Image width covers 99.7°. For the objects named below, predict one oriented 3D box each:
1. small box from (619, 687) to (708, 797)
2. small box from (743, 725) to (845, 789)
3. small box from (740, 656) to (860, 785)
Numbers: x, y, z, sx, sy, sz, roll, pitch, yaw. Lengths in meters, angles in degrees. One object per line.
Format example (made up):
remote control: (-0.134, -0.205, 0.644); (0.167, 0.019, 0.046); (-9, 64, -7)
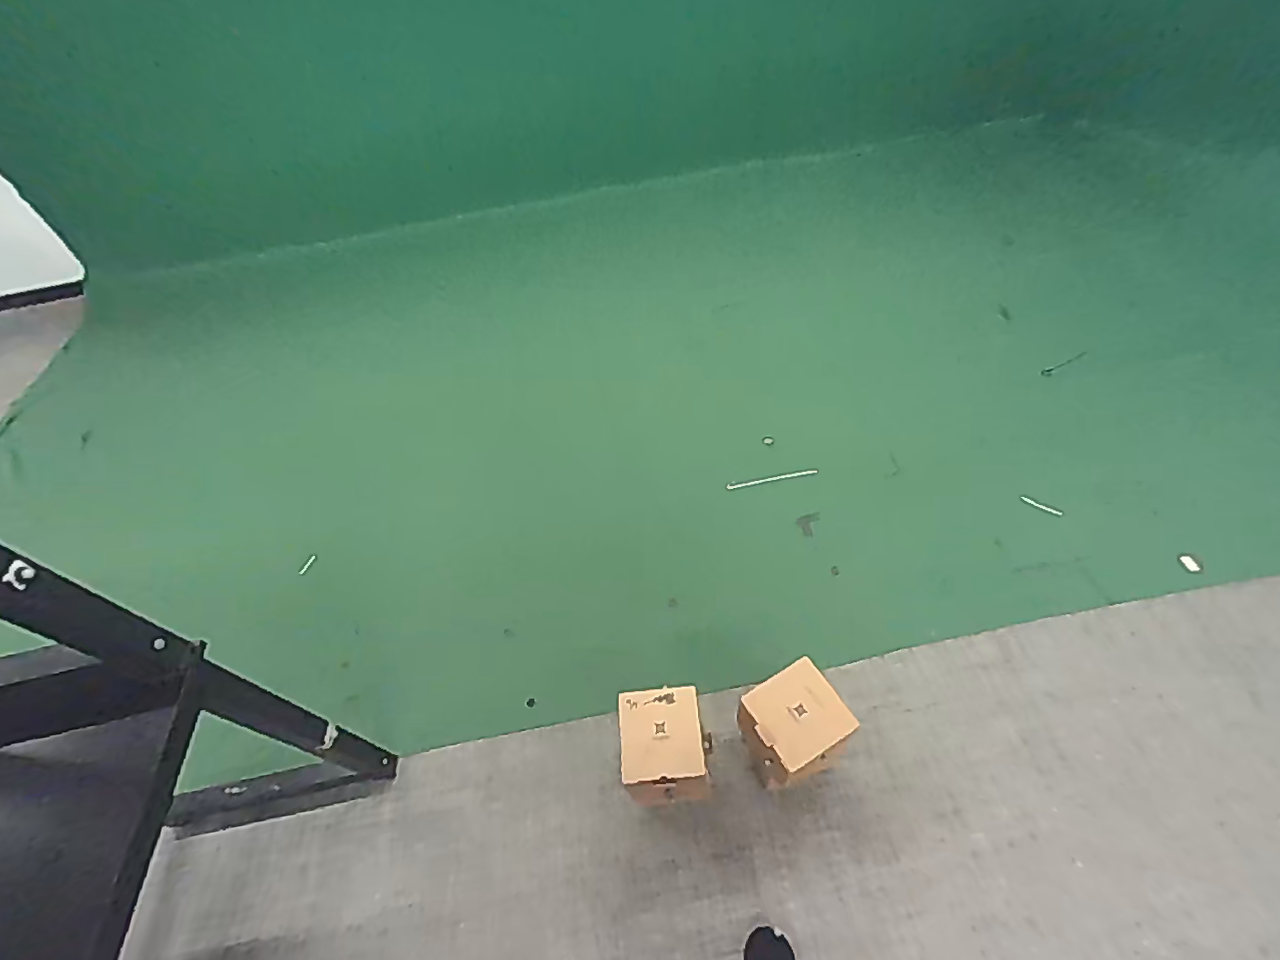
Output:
small box: (0.051, 0.556, 1.137); (0.168, 0.176, 0.179); (-7, 51, 3)
small box: (0.349, 0.602, 1.270); (0.179, 0.176, 0.168); (-16, 52, -6)
small box: (0.326, 0.511, 1.138); (0.179, 0.176, 0.168); (-27, 55, -14)
